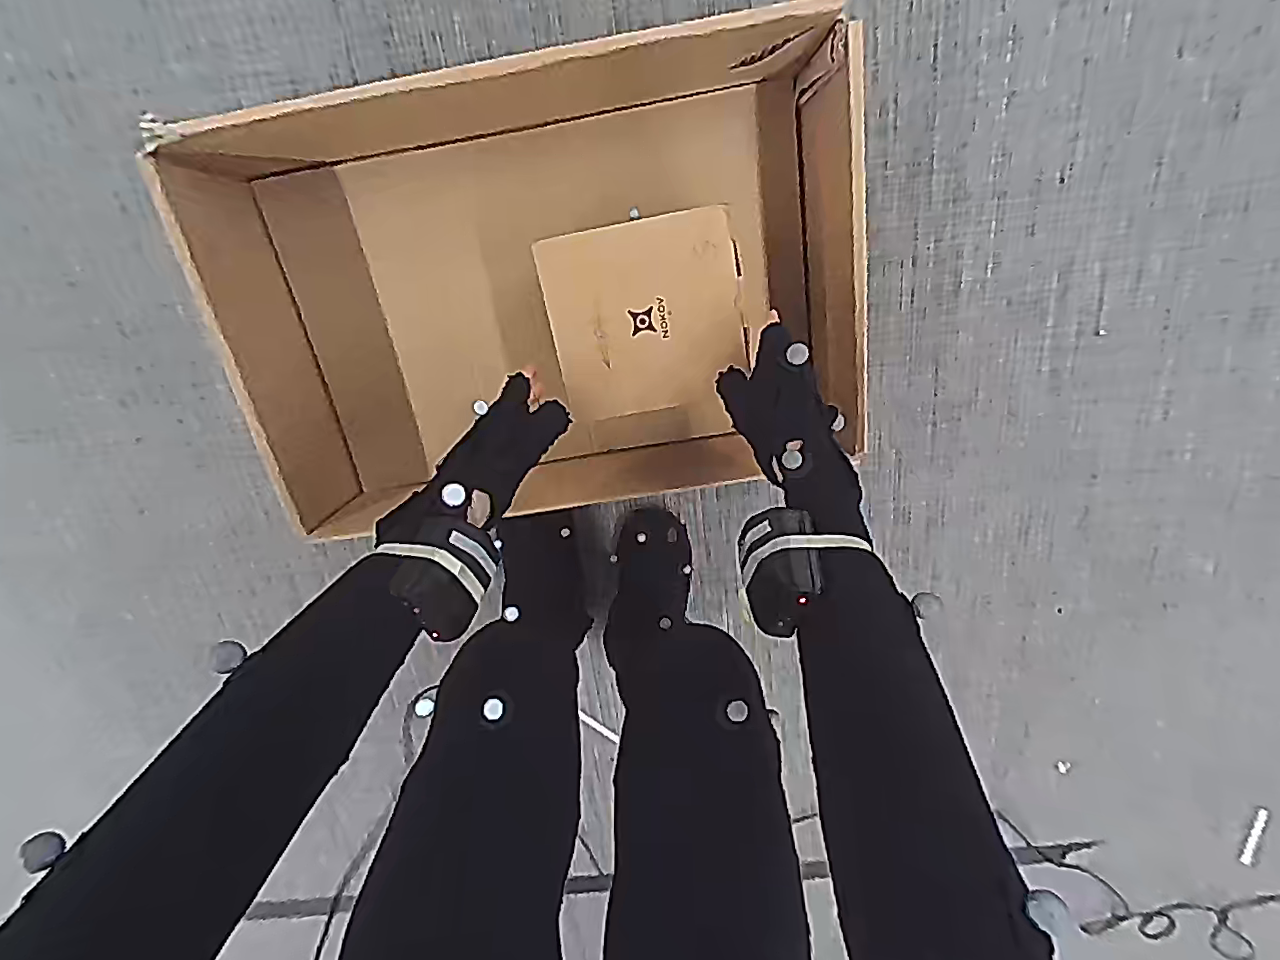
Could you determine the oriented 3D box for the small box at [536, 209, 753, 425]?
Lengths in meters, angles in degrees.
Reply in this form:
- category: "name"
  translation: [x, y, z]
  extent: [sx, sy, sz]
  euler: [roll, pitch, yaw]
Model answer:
- category: "small box"
  translation: [0.008, -0.169, 0.565]
  extent: [0.179, 0.176, 0.168]
  euler: [-10, 108, 5]
